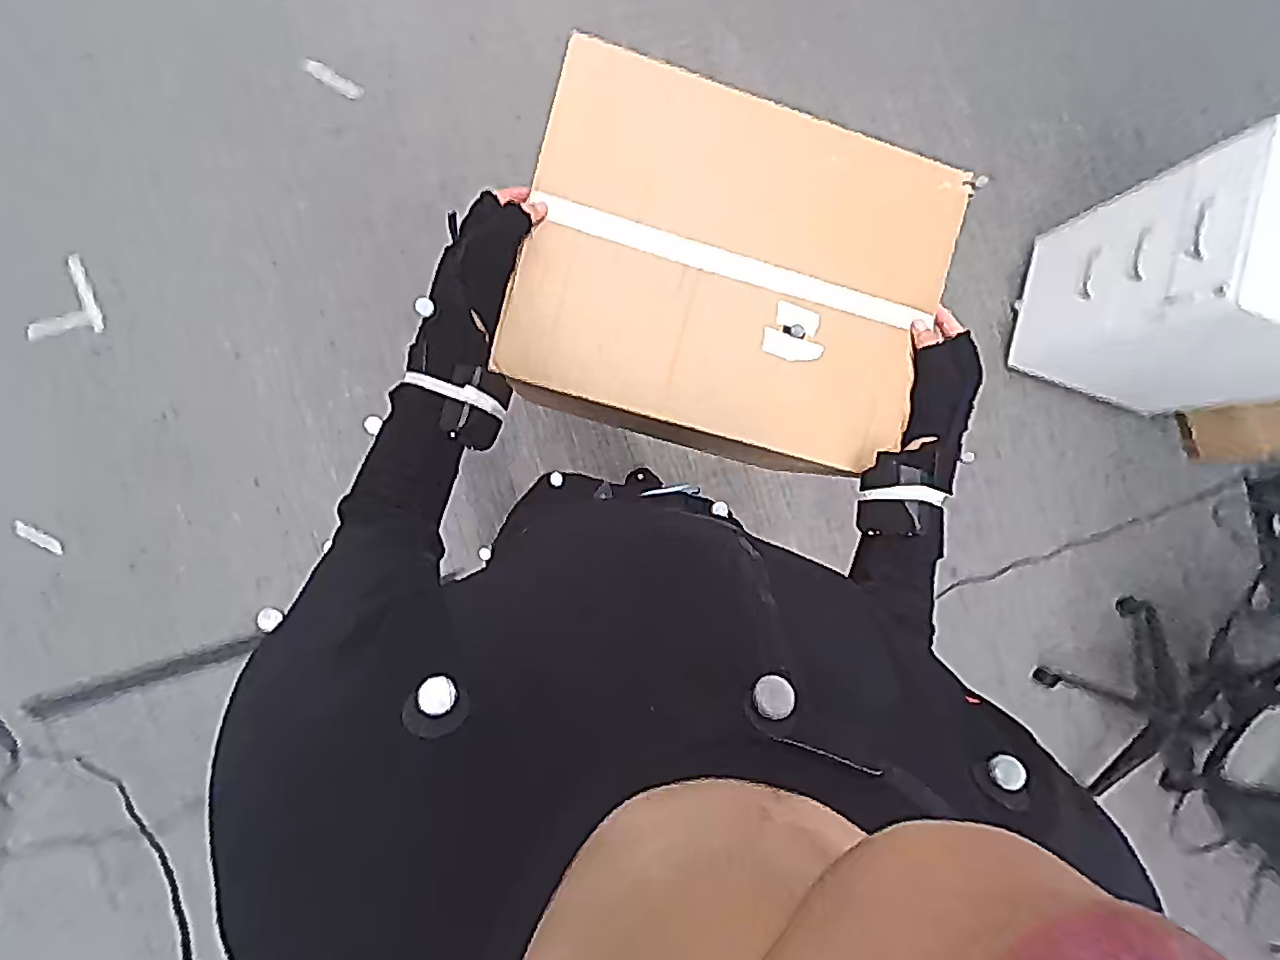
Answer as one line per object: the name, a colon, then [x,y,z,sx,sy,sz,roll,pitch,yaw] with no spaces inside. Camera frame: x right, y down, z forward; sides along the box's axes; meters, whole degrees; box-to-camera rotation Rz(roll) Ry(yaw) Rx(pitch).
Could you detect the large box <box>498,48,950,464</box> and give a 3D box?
large box: [0.070,-0.214,0.670,0.408,0.320,0.320,14,93,-8]
